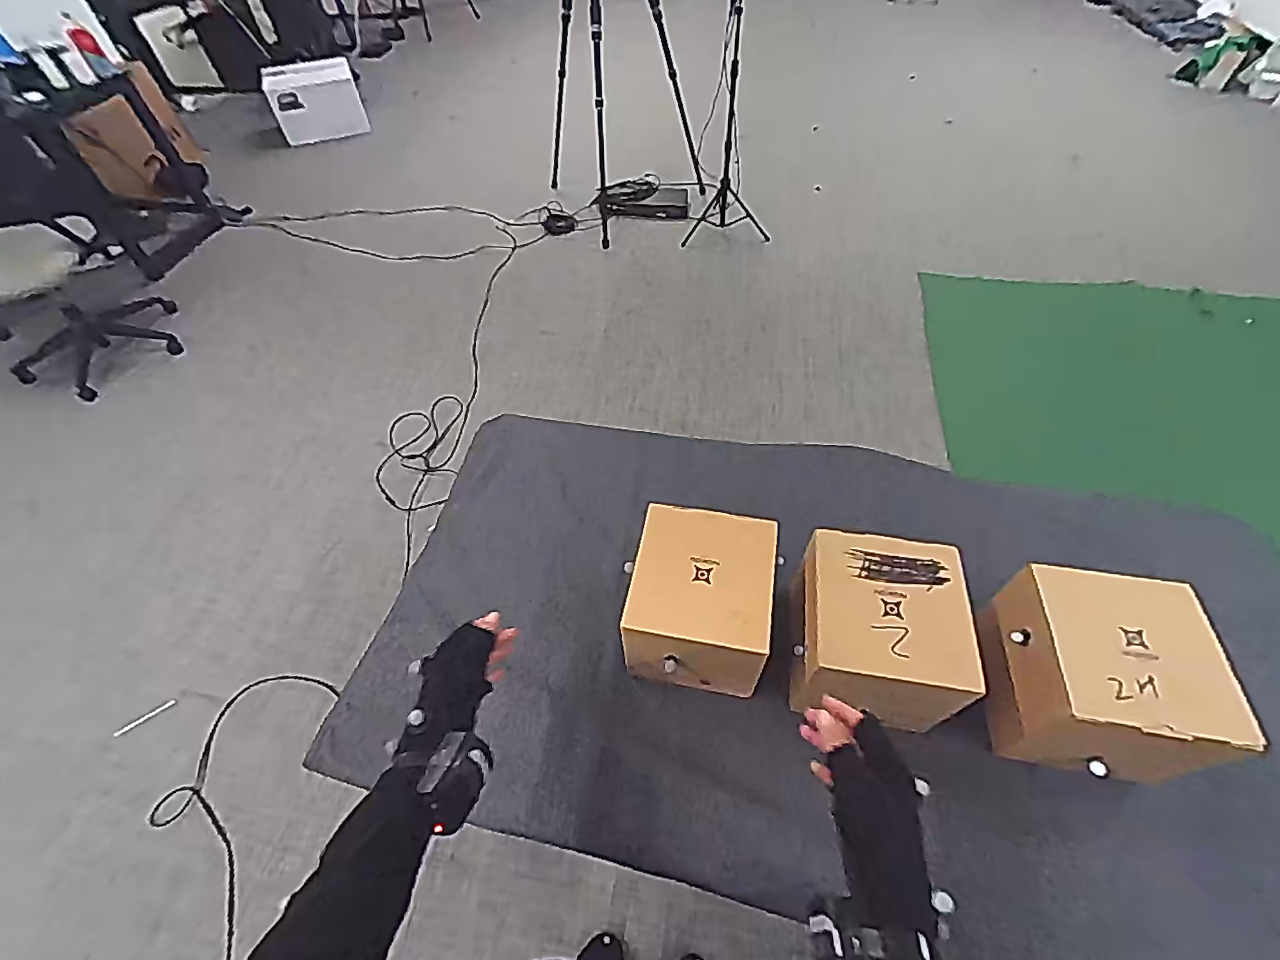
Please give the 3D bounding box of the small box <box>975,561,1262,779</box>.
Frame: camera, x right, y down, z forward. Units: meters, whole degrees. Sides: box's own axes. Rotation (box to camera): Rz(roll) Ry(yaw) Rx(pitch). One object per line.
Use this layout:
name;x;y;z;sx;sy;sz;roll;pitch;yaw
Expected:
small box;0.518;0.221;0.626;0.168;0.176;0.179;7;52;9
